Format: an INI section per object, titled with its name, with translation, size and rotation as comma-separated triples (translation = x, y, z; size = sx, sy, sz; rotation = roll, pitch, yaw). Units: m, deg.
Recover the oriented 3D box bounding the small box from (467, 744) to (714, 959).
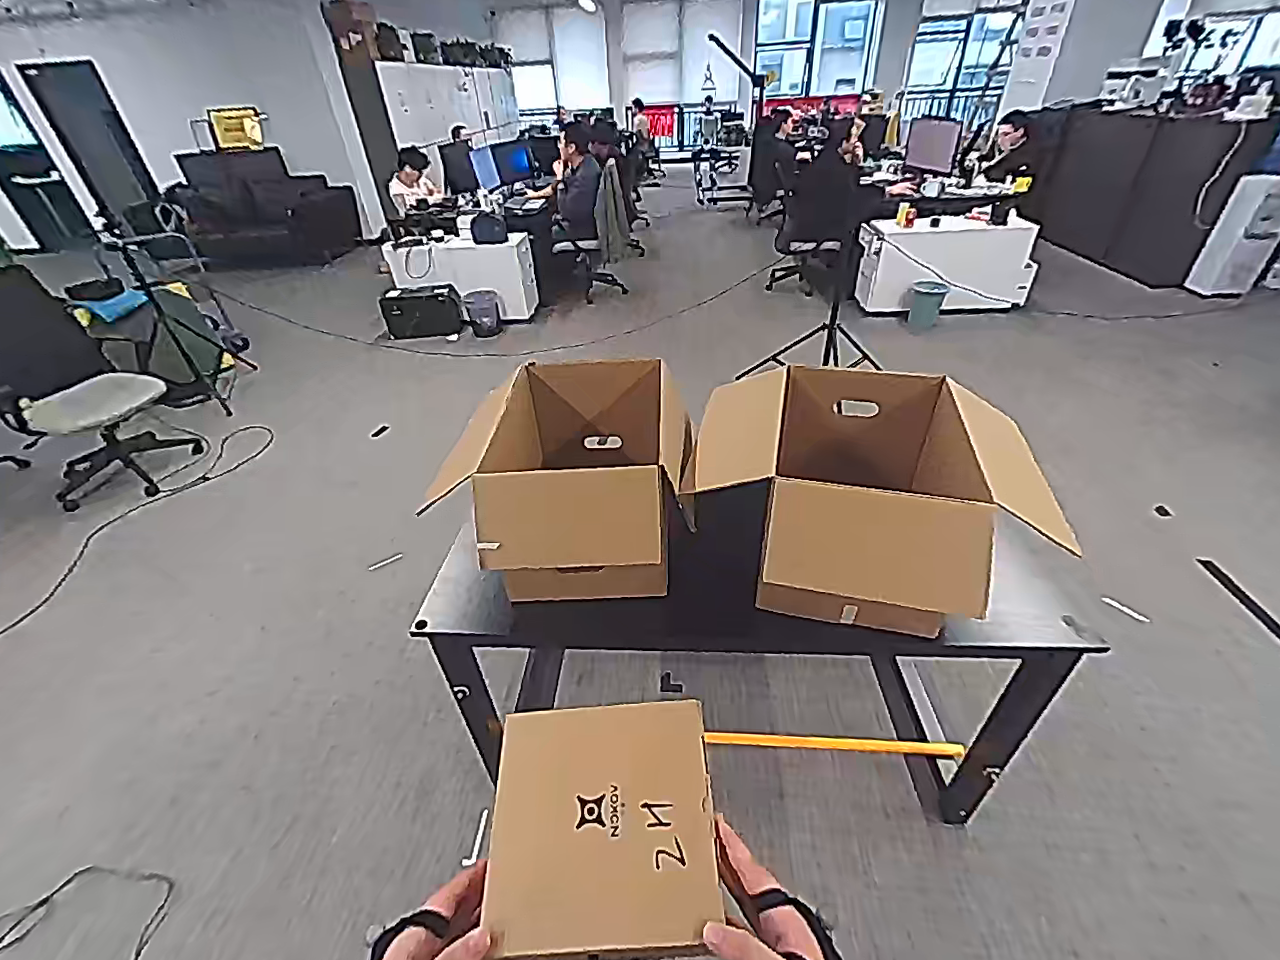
[small box]
translation = -0.030, 0.348, 0.471
size = 0.179, 0.176, 0.168
rotation = -5, 47, 2
